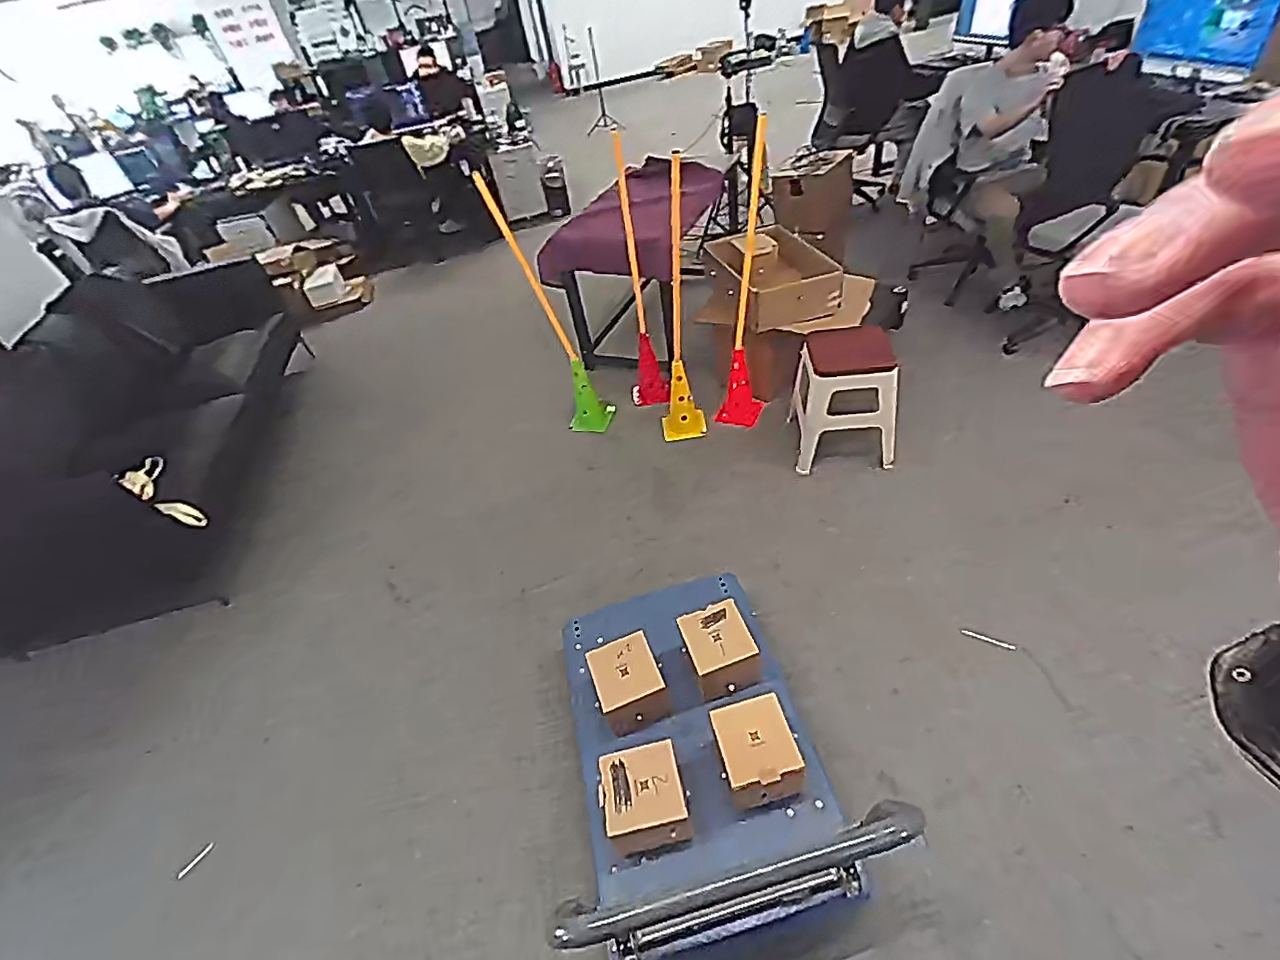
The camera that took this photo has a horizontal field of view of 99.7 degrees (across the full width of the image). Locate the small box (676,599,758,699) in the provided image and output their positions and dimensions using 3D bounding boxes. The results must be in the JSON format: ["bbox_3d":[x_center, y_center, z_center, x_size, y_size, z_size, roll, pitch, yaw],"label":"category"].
[{"bbox_3d":[0.209,0.461,1.469,0.168,0.176,0.179,-19,45,-6],"label":"small box"}]

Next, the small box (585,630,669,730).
[{"bbox_3d":[-0.032,0.541,1.442,0.168,0.176,0.179,-20,45,-8],"label":"small box"}]

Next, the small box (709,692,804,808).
[{"bbox_3d":[0.270,0.639,1.277,0.168,0.176,0.179,-16,44,-3],"label":"small box"}]
